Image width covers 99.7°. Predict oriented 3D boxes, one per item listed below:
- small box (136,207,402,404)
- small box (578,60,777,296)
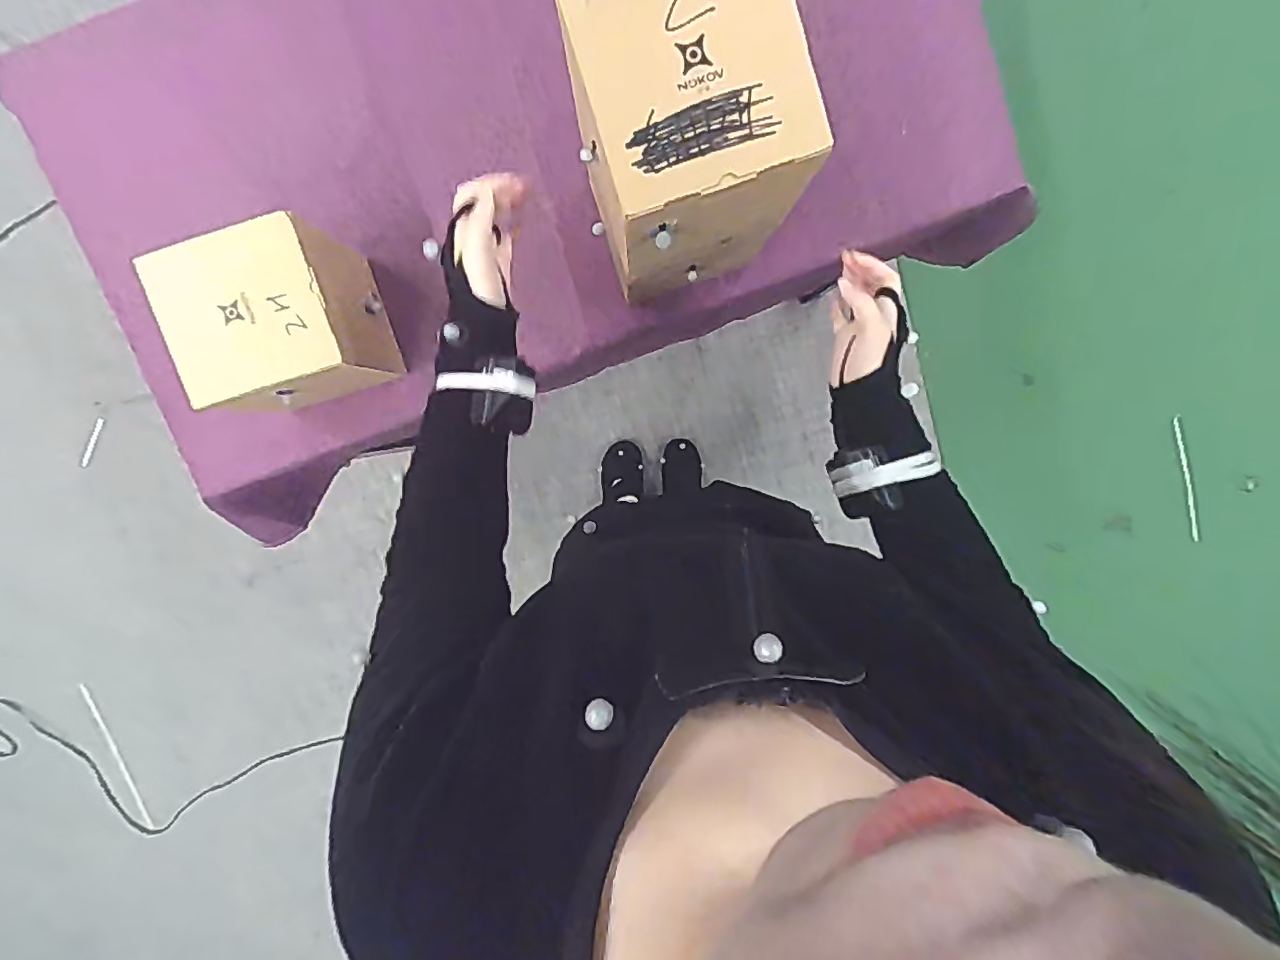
[{"bbox_3d":[-0.425,-0.192,0.651,0.179,0.176,0.168,-17,97,1],"label":"small box"},{"bbox_3d":[0.040,-0.336,0.640,0.179,0.176,0.168,-17,96,3],"label":"small box"}]
